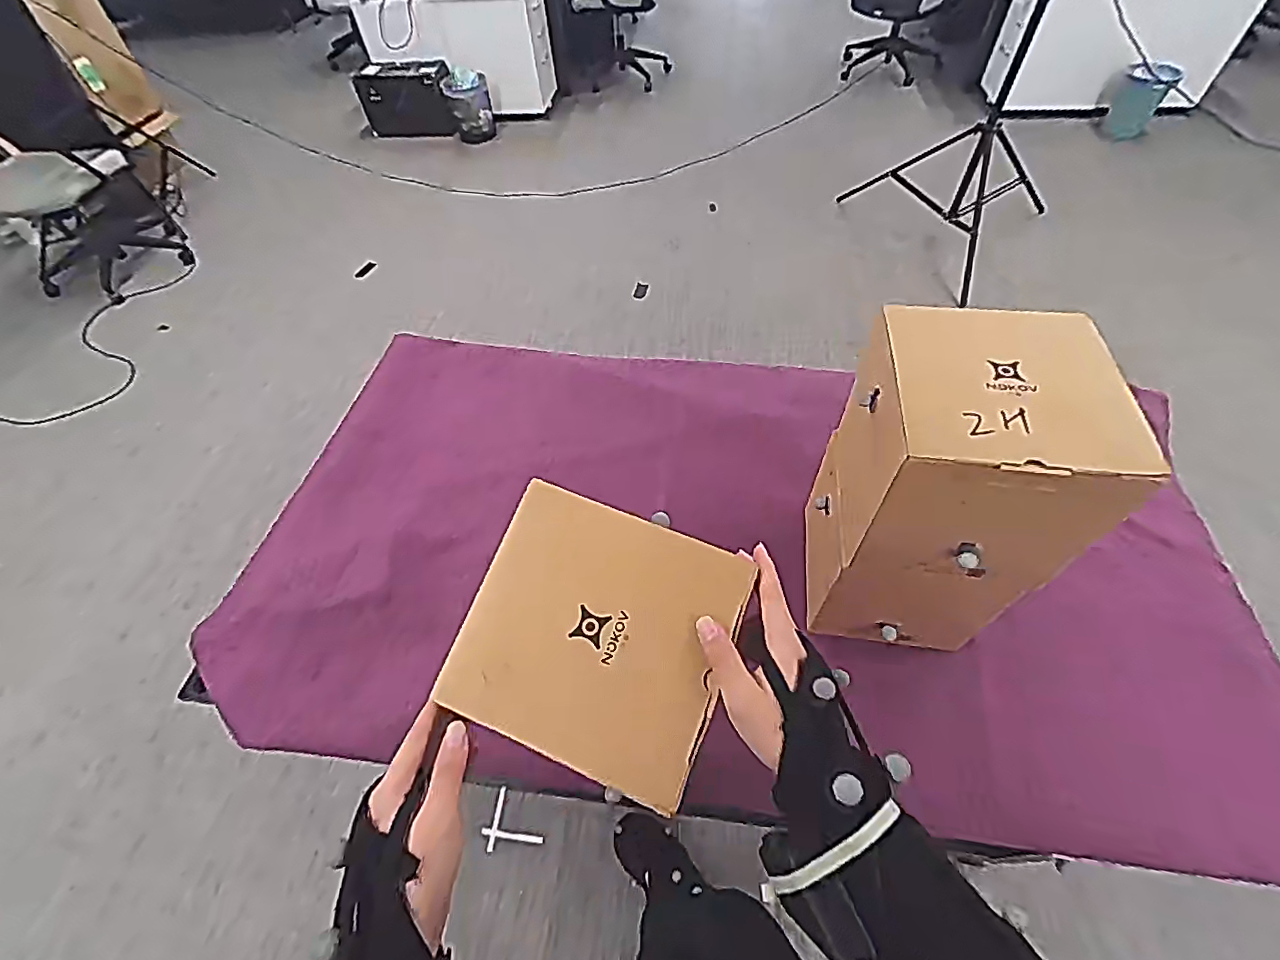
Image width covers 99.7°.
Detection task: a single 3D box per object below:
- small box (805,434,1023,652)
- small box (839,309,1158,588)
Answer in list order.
[{"bbox_3d":[0.286,0.072,0.614,0.168,0.176,0.179,6,54,8],"label":"small box"},{"bbox_3d":[0.282,-0.027,0.482,0.168,0.176,0.179,5,54,9],"label":"small box"}]
